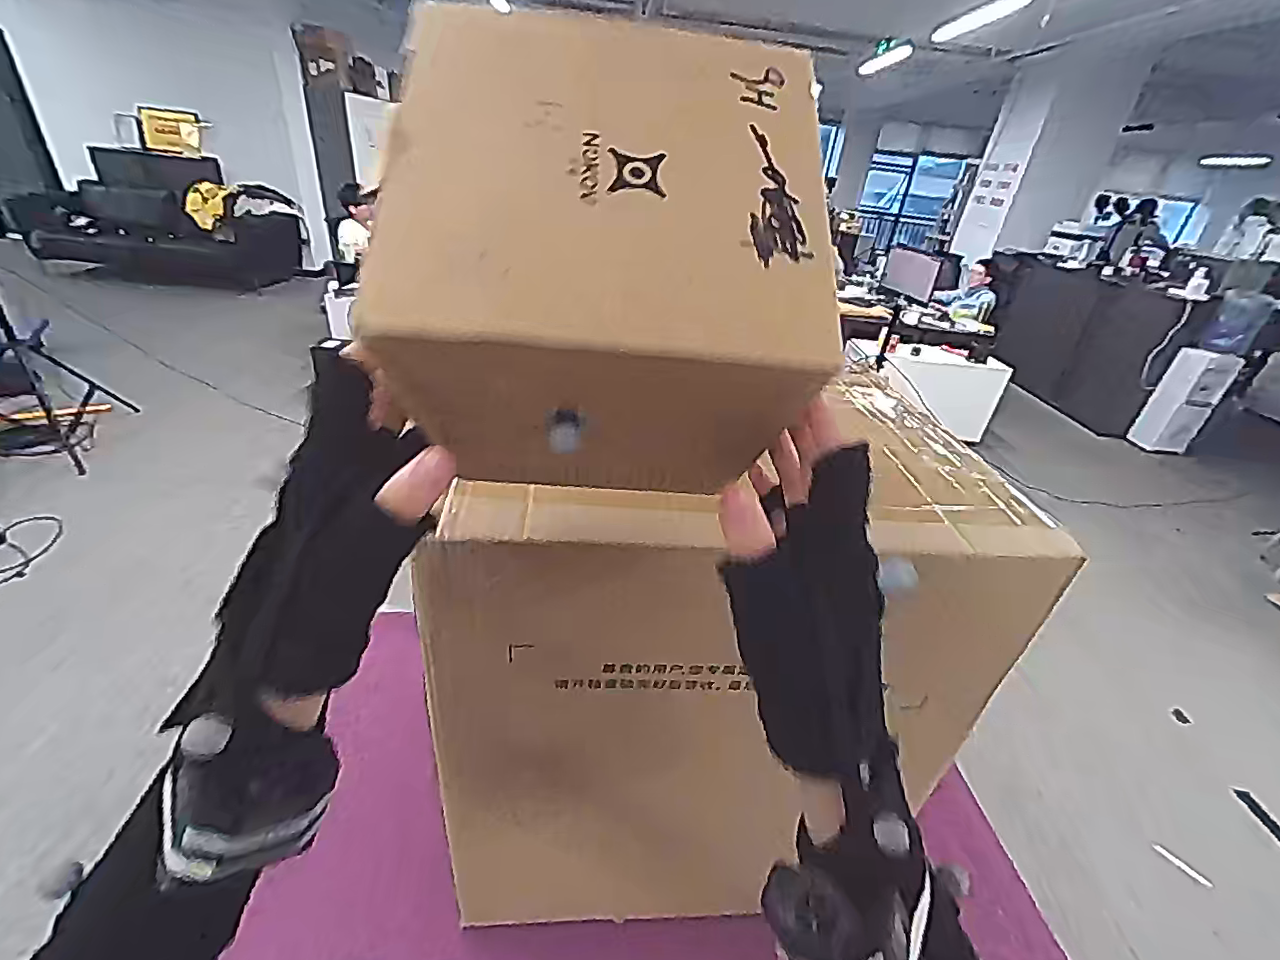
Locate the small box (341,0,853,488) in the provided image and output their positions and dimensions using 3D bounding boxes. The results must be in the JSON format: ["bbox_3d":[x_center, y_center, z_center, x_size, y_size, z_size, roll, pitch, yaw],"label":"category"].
[{"bbox_3d":[-0.015,-0.097,0.280,0.179,0.176,0.168,3,74,-4],"label":"small box"}]
